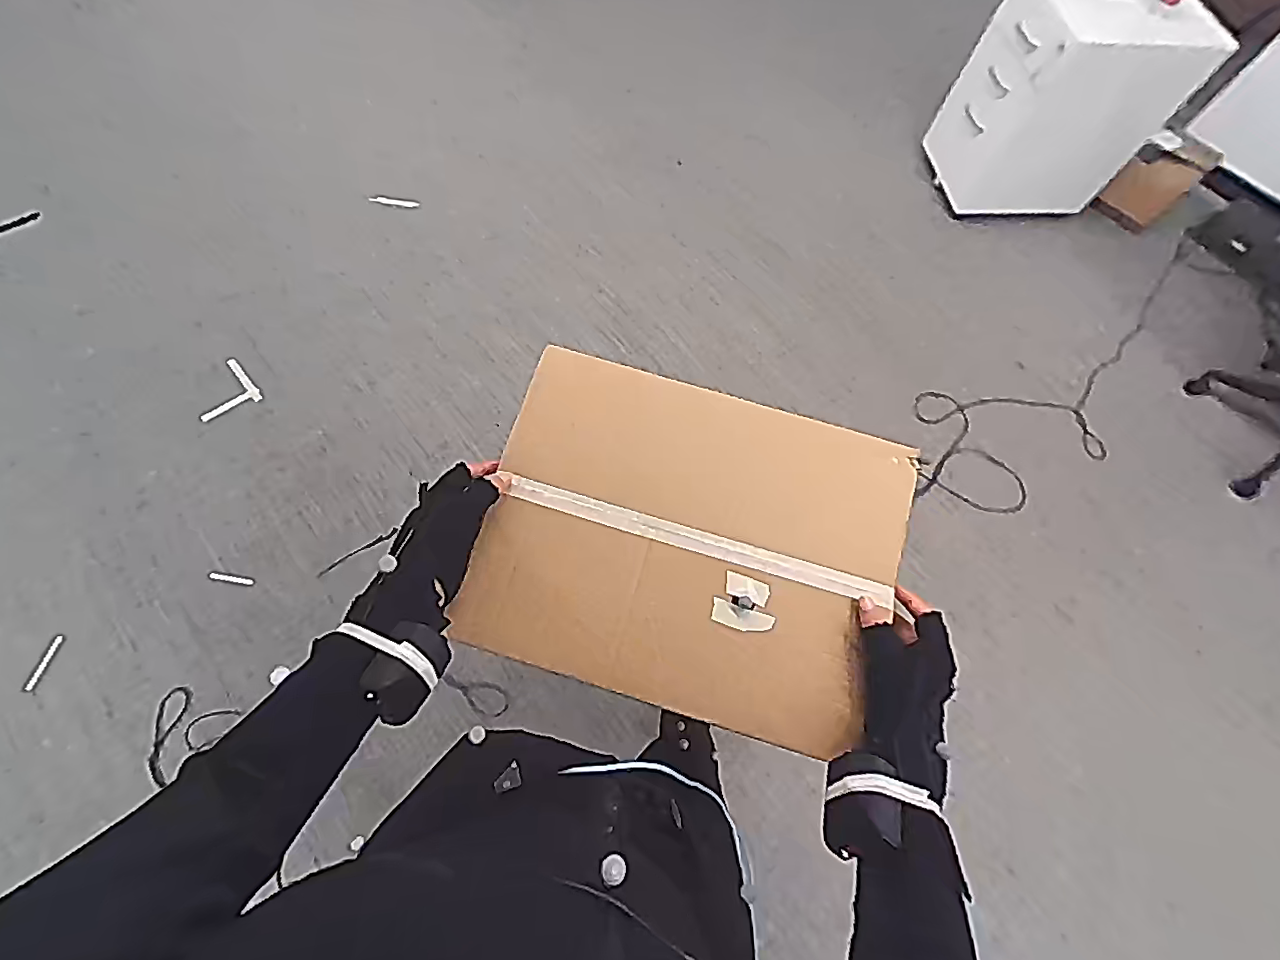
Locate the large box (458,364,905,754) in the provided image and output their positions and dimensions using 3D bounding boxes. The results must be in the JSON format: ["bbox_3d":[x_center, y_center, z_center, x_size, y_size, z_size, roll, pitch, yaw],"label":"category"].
[{"bbox_3d":[0.048,0.099,0.693,0.408,0.320,0.320,17,77,3],"label":"large box"}]
